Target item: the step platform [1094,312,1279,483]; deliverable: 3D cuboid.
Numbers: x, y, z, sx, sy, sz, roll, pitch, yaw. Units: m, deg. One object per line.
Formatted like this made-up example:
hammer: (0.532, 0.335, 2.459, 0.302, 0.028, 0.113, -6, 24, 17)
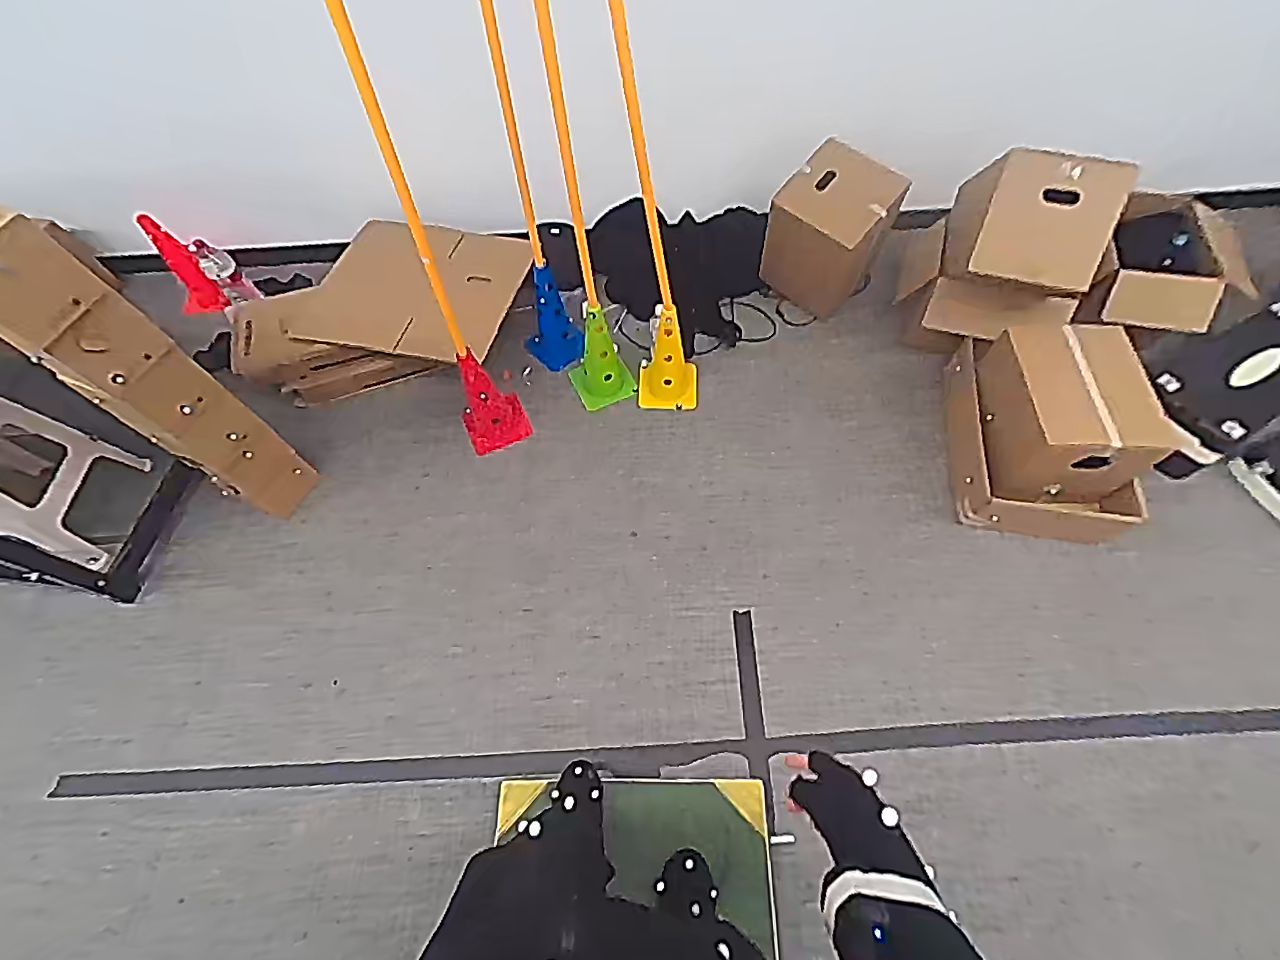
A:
step platform: (1.822, -0.270, 1.707, 0.684, 0.204, 0.286, -28, 64, -12)
